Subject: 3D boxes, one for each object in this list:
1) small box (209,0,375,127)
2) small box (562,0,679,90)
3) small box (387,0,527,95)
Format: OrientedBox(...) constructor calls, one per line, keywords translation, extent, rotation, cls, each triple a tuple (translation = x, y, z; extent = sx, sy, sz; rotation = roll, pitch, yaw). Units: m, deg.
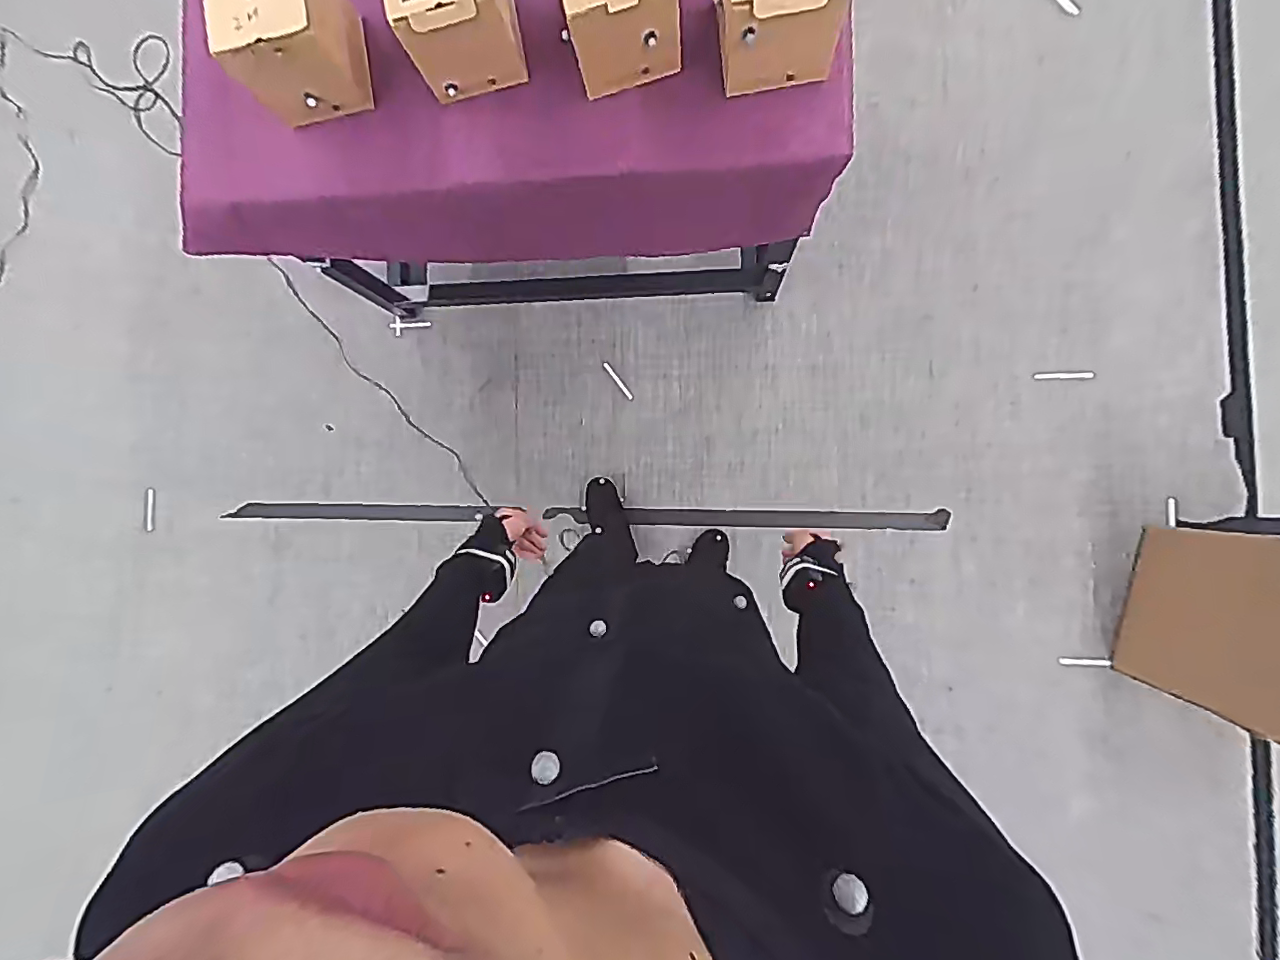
OrientedBox(translation=(-0.576, -0.744, 0.908), extent=(0.168, 0.176, 0.179), rotation=(-9, 88, 6), cls="small box")
OrientedBox(translation=(-0.035, -0.762, 0.853), extent=(0.168, 0.176, 0.179), rotation=(-13, 86, 5), cls="small box")
OrientedBox(translation=(-0.296, -0.771, 0.880), extent=(0.168, 0.176, 0.179), rotation=(-11, 86, 6), cls="small box")
